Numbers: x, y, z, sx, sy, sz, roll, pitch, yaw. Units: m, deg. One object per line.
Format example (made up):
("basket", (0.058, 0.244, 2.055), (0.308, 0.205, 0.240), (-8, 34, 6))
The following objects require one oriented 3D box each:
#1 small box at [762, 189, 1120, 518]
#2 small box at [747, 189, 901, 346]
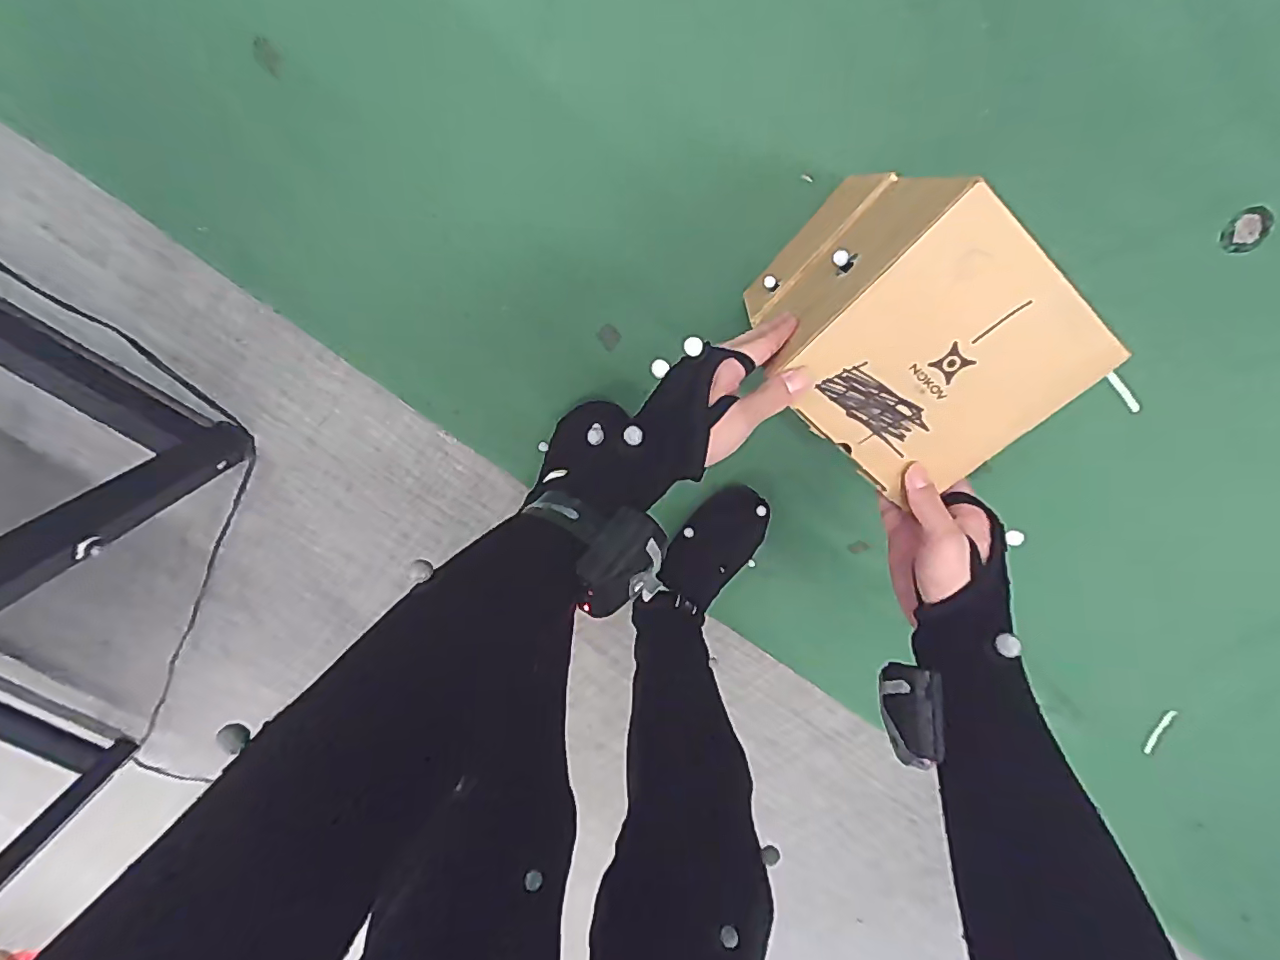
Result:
("small box", (0.218, -0.109, 0.450), (0.168, 0.176, 0.179), (38, 115, -14))
("small box", (0.235, -0.194, 0.600), (0.168, 0.176, 0.179), (37, 117, -13))
